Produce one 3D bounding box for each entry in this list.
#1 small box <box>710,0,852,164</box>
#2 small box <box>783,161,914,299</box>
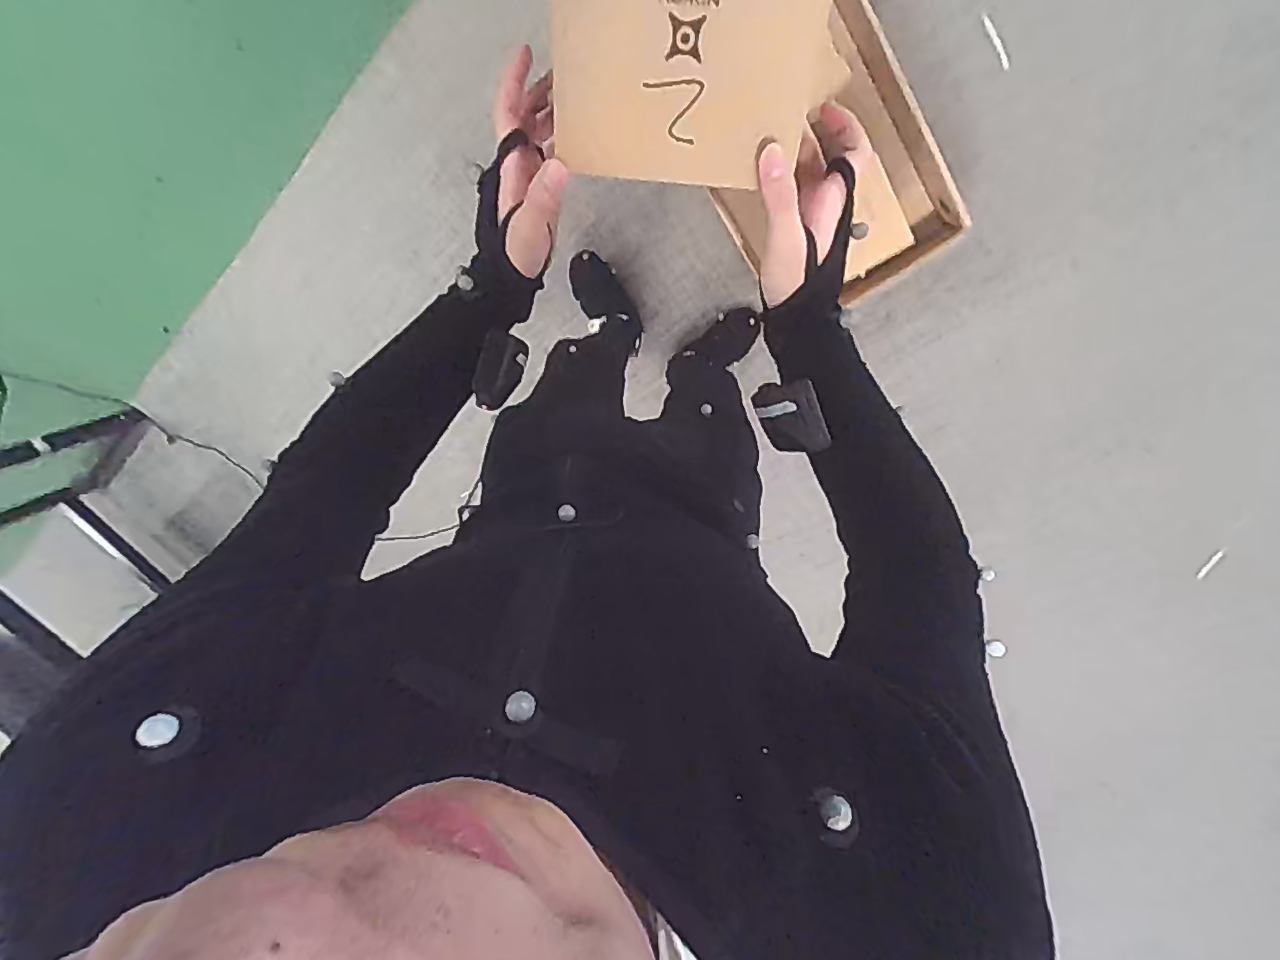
[{"bbox_3d":[0.248,-0.695,0.960,0.179,0.176,0.168,-33,104,25],"label":"small box"},{"bbox_3d":[0.389,-0.471,1.031,0.179,0.176,0.168,-26,107,23],"label":"small box"}]
